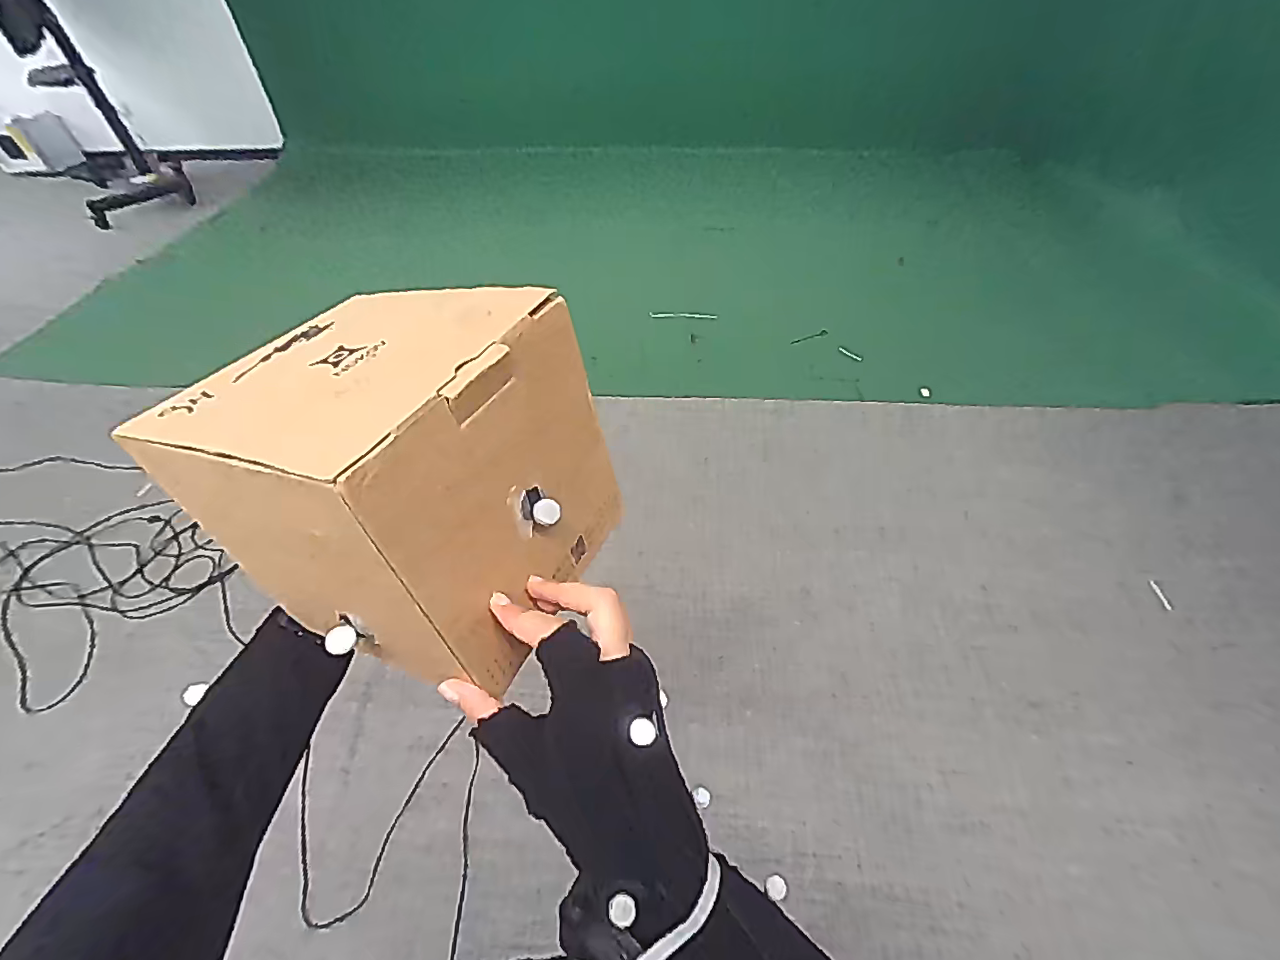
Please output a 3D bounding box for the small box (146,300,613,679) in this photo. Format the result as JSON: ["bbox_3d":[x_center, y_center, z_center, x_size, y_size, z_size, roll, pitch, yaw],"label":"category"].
[{"bbox_3d":[-0.136,0.000,0.349,0.179,0.176,0.168,9,44,26],"label":"small box"}]
